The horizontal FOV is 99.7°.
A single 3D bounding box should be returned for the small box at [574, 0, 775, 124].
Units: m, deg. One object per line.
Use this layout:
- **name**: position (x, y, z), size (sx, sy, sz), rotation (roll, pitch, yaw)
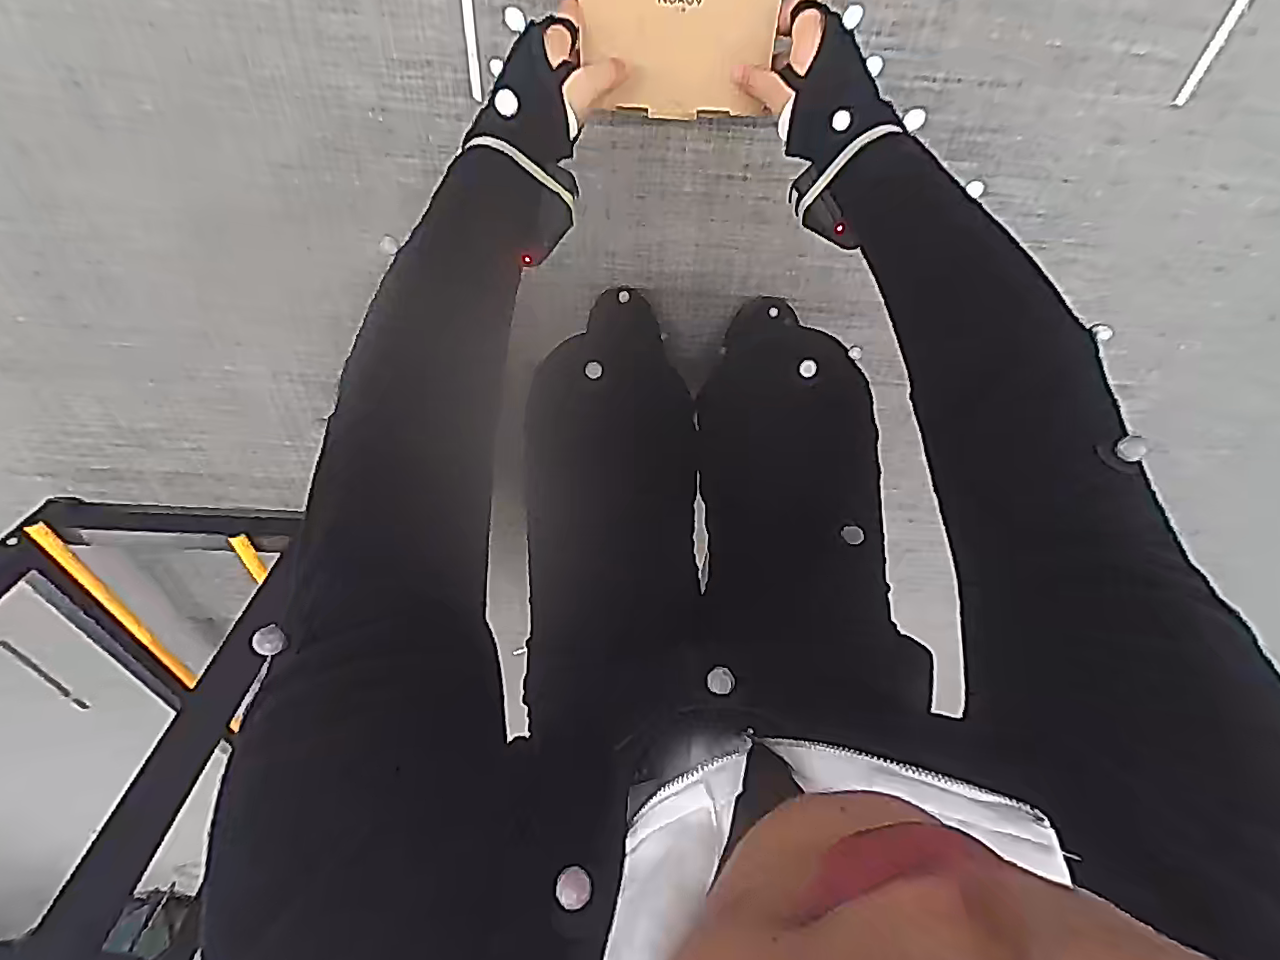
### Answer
- **small box**: position (0.030, -0.447, 0.489), size (0.168, 0.176, 0.179), rotation (2, 135, -1)
